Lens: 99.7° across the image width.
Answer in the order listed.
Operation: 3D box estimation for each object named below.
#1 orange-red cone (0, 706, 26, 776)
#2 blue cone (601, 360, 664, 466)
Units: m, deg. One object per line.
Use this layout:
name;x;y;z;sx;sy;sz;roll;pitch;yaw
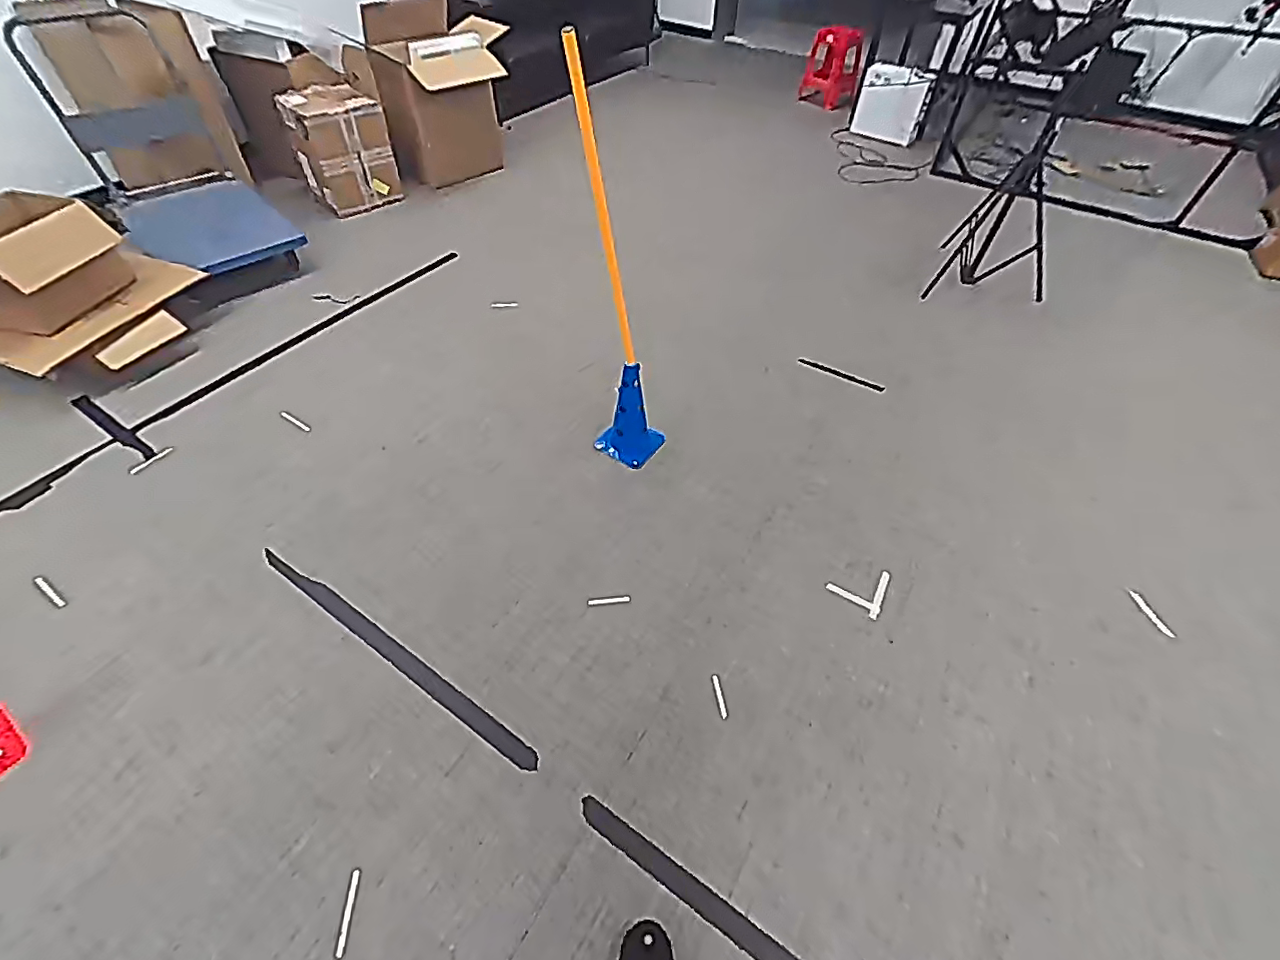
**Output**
orange-red cone;-1.528;0.529;1.091;0.199;0.360;0.198;30;55;22
blue cone;-0.023;-0.248;1.826;0.192;0.380;0.193;31;56;21
